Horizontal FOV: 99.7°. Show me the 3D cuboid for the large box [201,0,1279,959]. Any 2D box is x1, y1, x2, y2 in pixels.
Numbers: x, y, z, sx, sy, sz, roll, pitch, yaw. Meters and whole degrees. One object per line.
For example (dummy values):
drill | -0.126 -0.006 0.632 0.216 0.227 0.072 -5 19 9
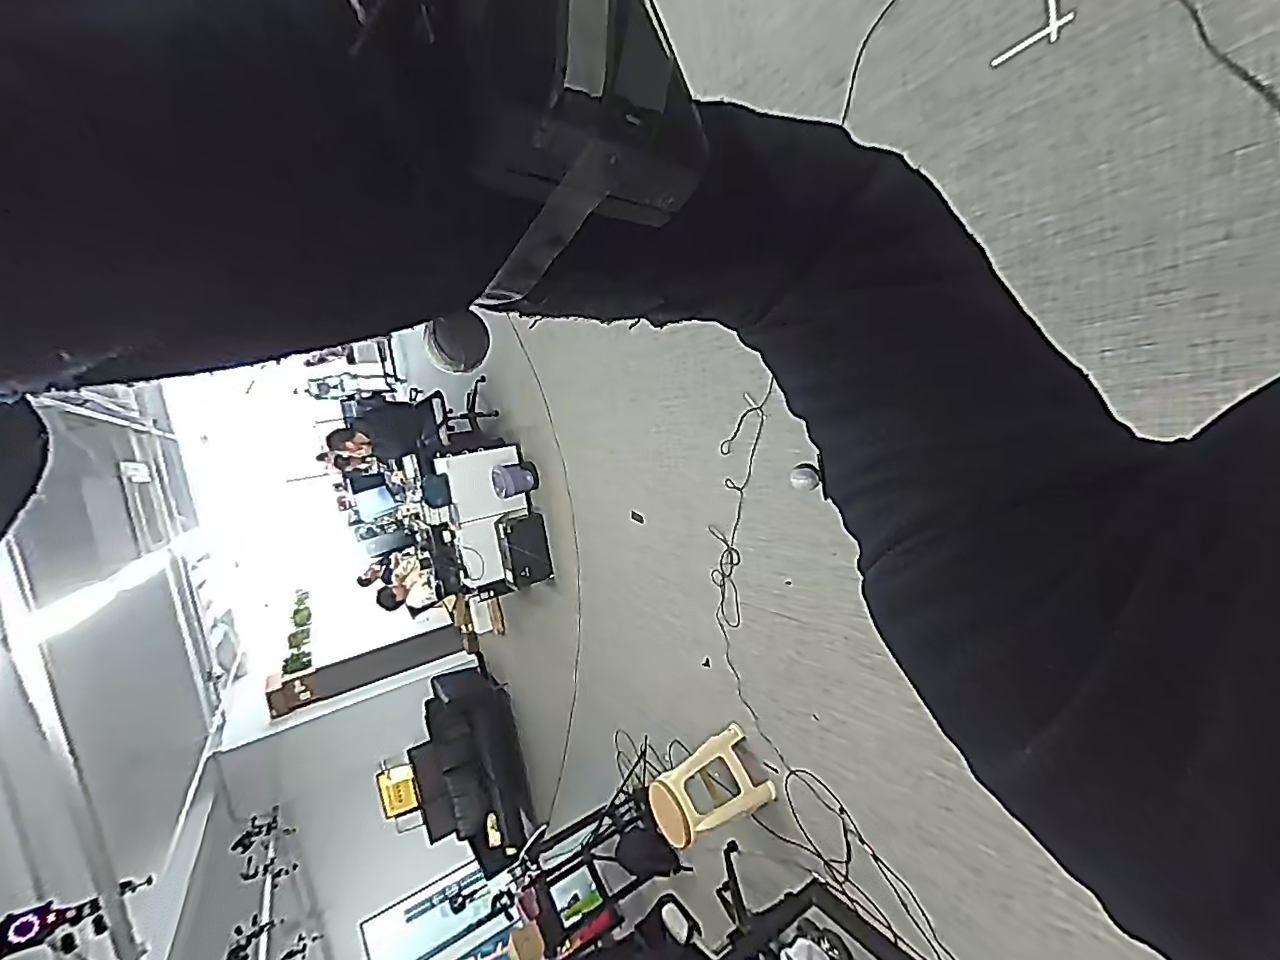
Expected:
large box | 0.130 0.053 0.155 0.408 0.320 0.320 16 -112 54
